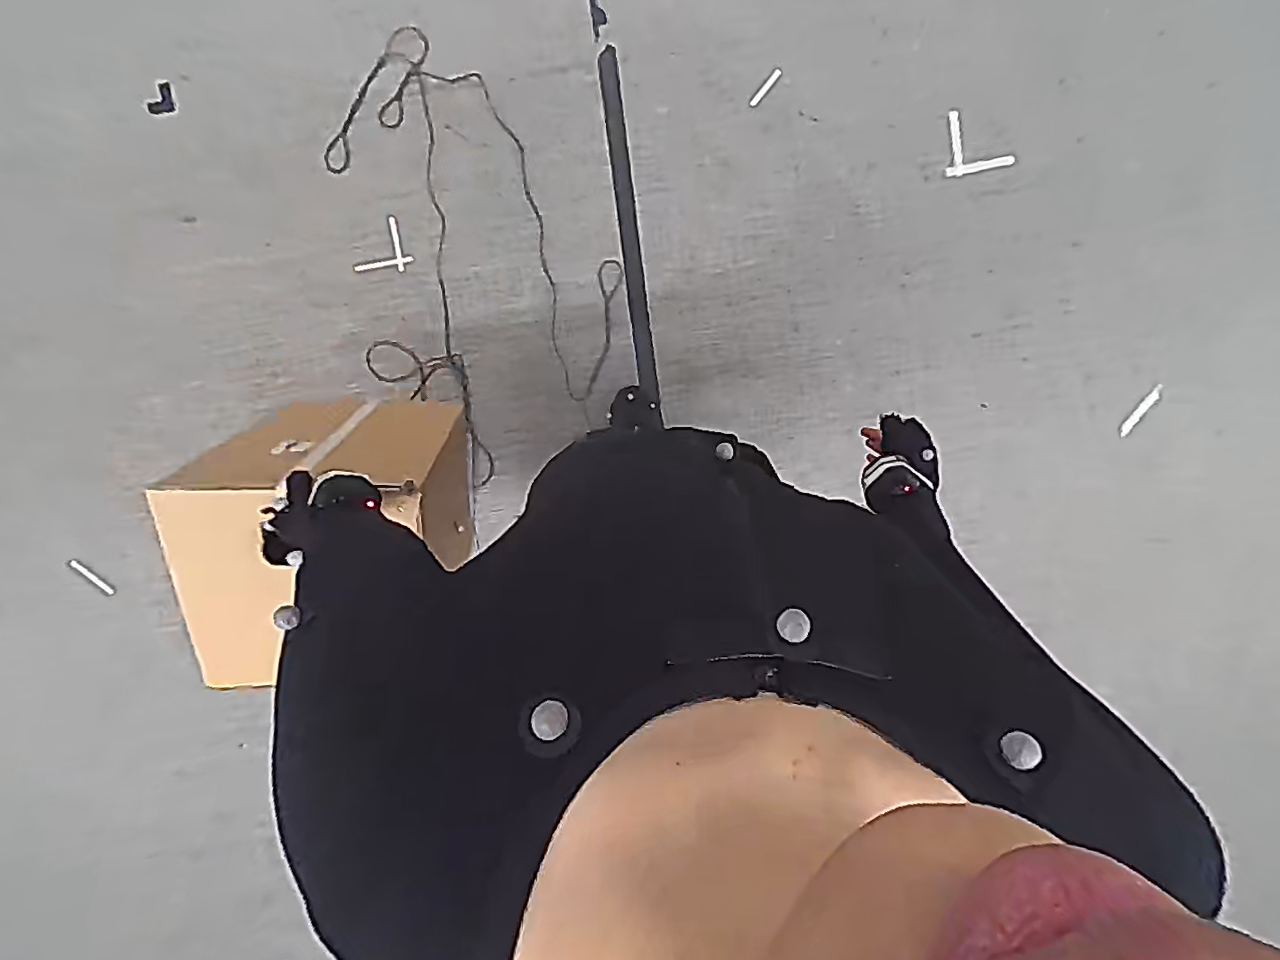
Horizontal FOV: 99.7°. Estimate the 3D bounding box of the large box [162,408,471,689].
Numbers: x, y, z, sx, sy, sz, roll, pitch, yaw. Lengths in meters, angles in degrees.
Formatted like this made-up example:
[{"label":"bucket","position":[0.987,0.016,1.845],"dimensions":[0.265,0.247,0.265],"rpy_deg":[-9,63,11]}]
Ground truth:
[{"label":"large box","position":[-0.474,0.082,0.916],"dimensions":[0.320,0.408,0.320],"rpy_deg":[-2,113,-9]}]
